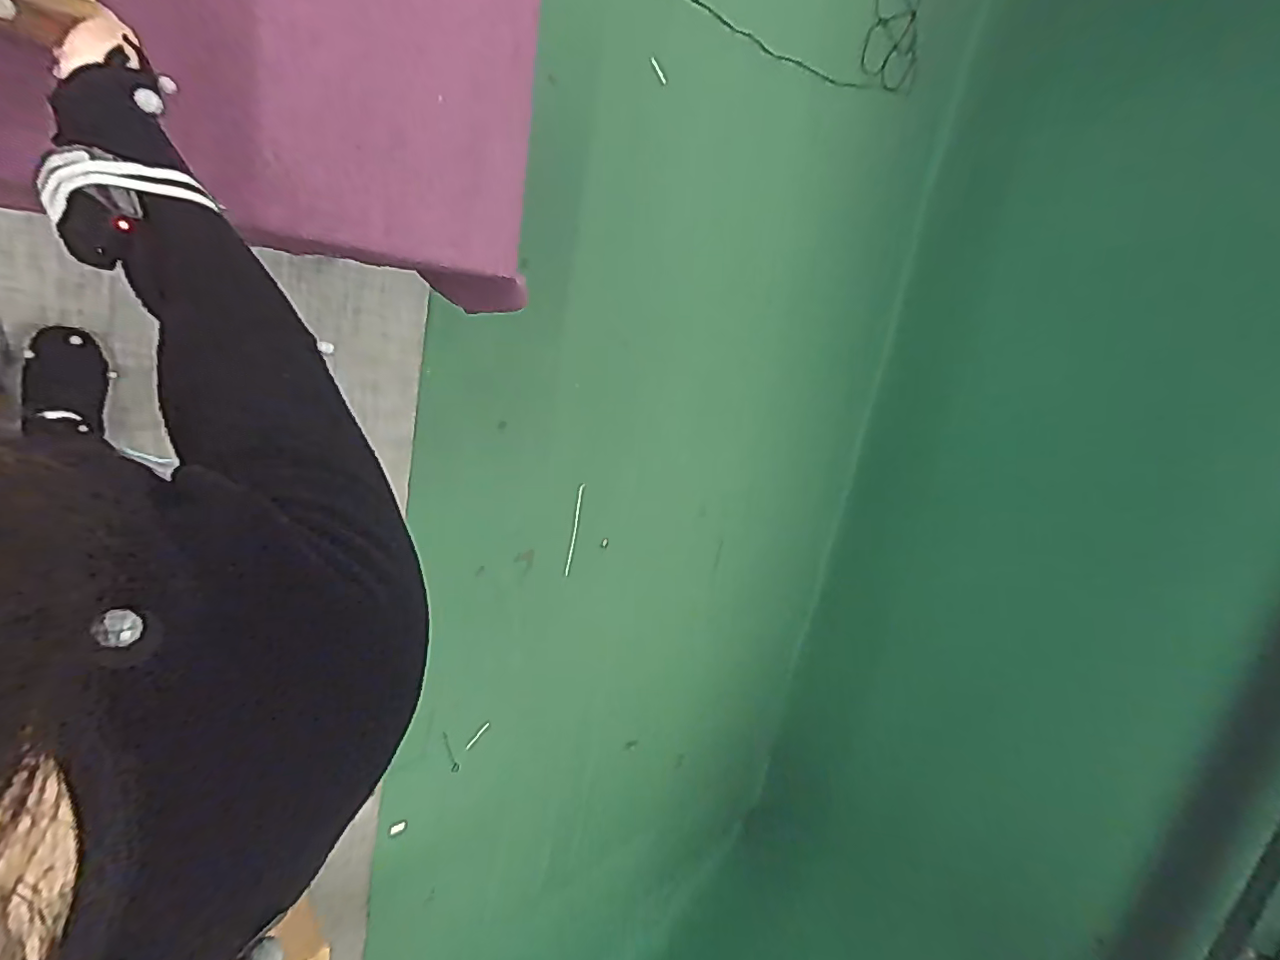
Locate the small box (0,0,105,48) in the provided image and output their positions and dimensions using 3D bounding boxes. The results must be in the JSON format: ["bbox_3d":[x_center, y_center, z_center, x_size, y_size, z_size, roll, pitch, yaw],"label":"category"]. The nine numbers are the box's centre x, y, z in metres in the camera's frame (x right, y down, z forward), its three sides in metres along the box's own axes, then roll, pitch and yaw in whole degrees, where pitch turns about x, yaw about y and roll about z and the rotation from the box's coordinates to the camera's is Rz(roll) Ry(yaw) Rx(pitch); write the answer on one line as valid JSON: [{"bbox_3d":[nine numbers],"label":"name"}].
[{"bbox_3d":[-0.476,-0.416,0.345,0.179,0.176,0.168,-8,111,-44],"label":"small box"}]
